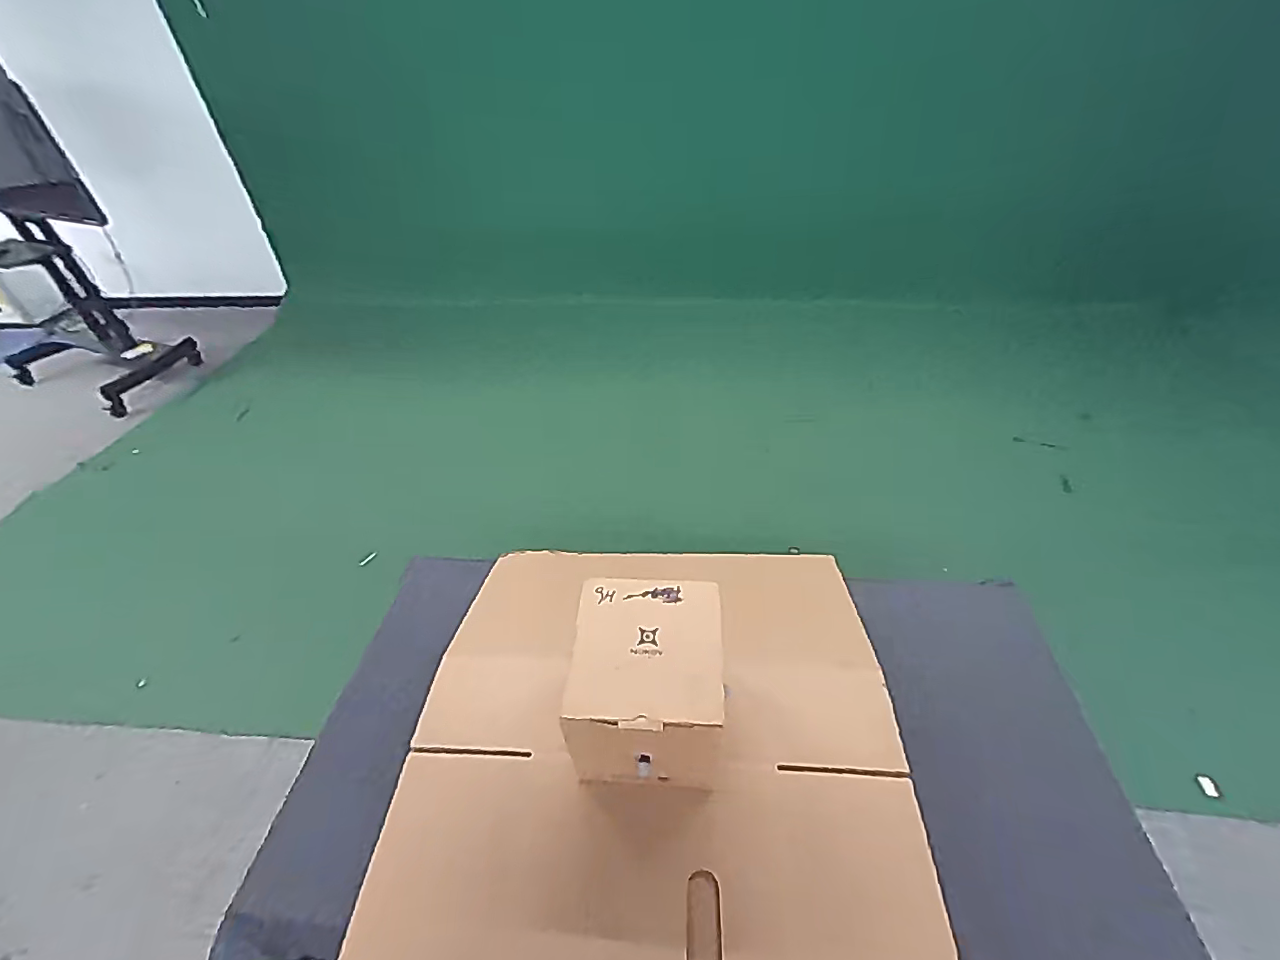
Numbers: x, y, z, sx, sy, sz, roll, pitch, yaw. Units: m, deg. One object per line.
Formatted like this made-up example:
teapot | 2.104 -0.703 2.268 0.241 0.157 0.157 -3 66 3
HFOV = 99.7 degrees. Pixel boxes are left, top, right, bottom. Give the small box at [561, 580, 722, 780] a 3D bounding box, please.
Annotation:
small box | 0.009 0.241 0.649 0.168 0.176 0.179 -1 42 3
